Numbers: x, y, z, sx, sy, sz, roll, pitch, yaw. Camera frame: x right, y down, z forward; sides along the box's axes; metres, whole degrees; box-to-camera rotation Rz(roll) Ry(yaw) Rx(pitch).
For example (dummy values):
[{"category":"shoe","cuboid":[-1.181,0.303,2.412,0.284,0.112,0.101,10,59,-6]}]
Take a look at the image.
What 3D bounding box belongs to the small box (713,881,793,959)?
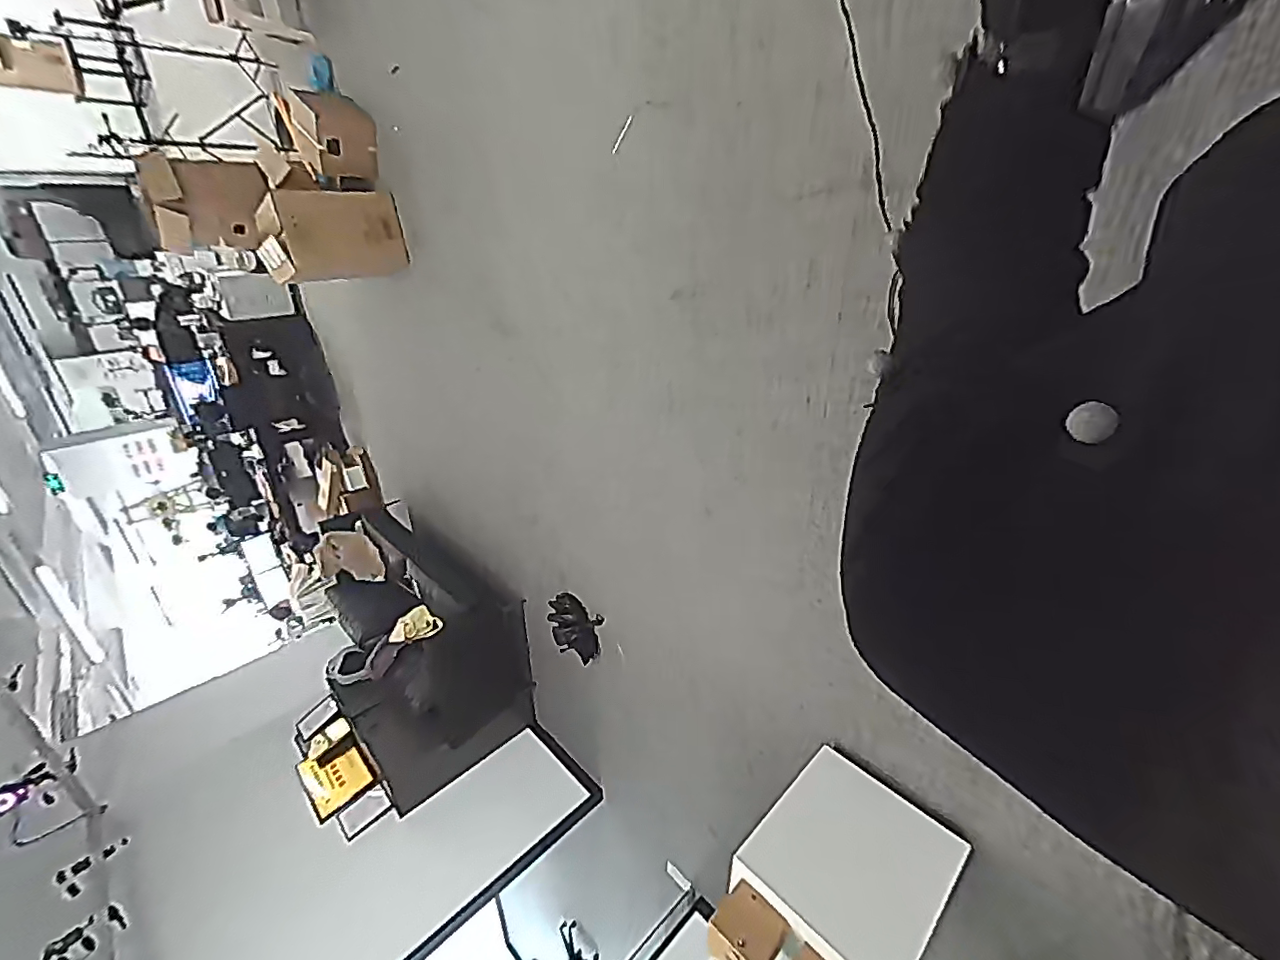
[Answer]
[{"category":"small box","cuboid":[0.334,1.353,1.599,0.168,0.176,0.179,25,127,41]}]
